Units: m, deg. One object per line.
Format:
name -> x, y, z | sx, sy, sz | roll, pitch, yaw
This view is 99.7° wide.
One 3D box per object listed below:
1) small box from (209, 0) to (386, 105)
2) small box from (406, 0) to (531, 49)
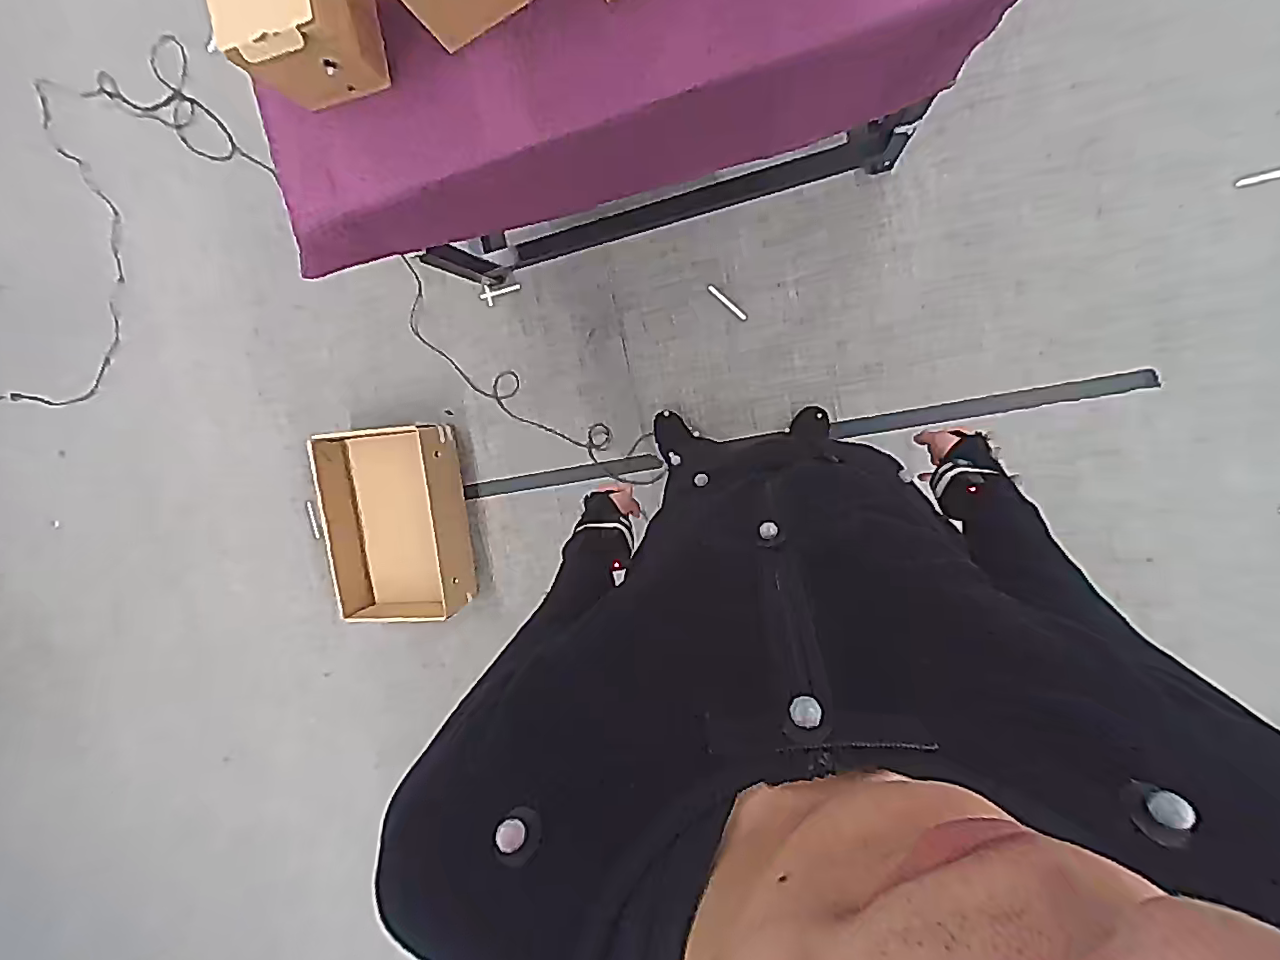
small box -> -0.521, -0.716, 0.832 | 0.168, 0.176, 0.179 | -6, 97, 12
small box -> -0.275, -0.775, 0.769 | 0.179, 0.176, 0.168 | -20, 95, 14
